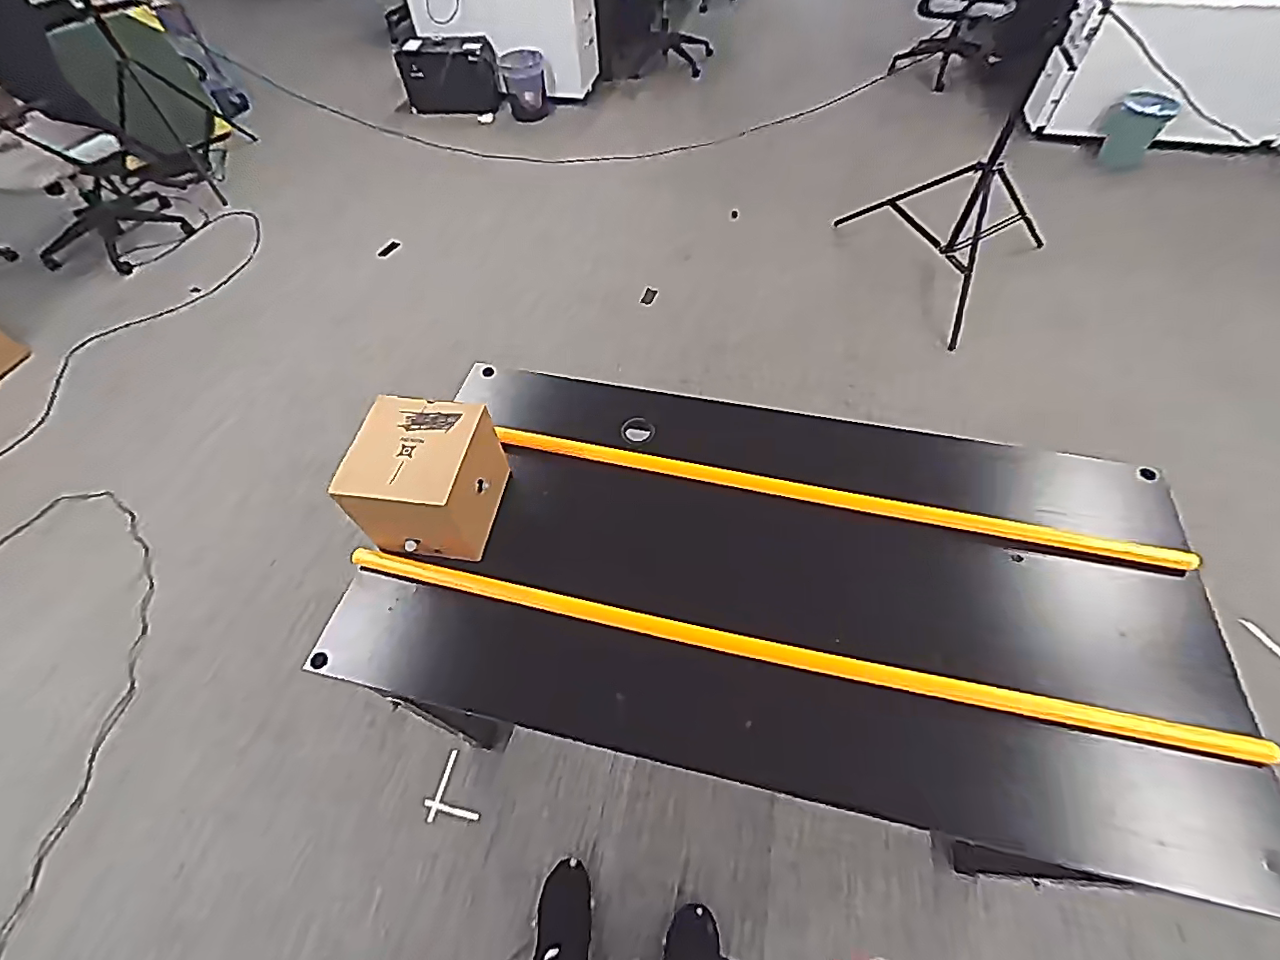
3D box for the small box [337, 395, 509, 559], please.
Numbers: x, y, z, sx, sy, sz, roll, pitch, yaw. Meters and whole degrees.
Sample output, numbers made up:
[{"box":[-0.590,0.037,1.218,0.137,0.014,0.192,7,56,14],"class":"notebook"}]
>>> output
[{"box":[-0.308,-0.002,0.817,0.168,0.176,0.179,6,57,6],"class":"small box"}]
